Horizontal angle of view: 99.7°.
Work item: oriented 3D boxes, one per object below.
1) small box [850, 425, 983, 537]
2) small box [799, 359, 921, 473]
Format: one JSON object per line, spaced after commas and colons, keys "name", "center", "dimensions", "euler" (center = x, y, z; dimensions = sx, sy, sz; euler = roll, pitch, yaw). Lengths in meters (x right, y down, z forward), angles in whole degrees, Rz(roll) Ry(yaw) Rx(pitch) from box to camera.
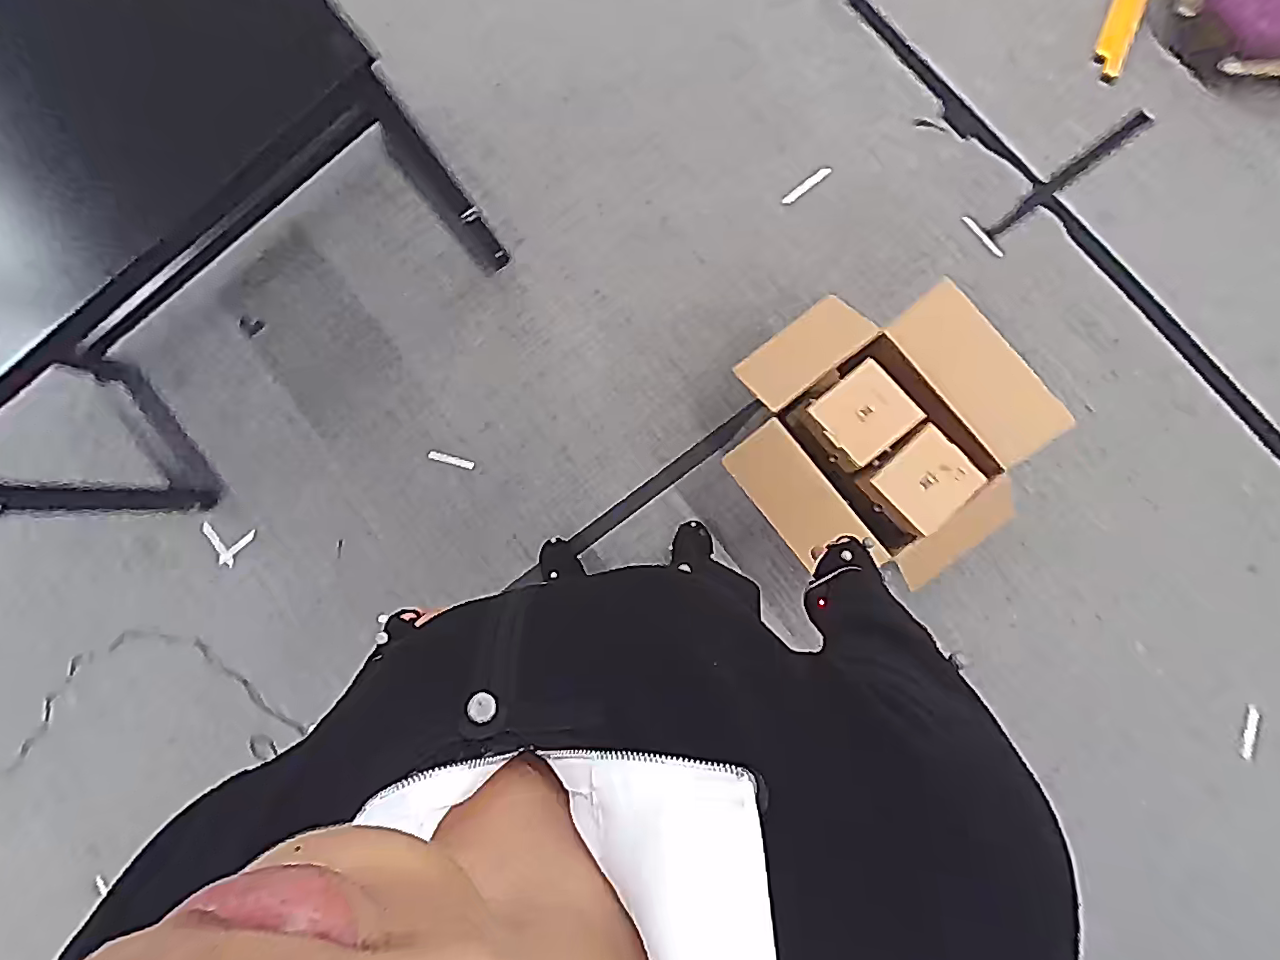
{"name": "small box", "center": [0.594, 0.003, 1.195], "dimensions": [0.179, 0.176, 0.168], "euler": [-44, 89, 2]}
{"name": "small box", "center": [0.478, -0.133, 1.211], "dimensions": [0.179, 0.176, 0.168], "euler": [-40, 82, 0]}
